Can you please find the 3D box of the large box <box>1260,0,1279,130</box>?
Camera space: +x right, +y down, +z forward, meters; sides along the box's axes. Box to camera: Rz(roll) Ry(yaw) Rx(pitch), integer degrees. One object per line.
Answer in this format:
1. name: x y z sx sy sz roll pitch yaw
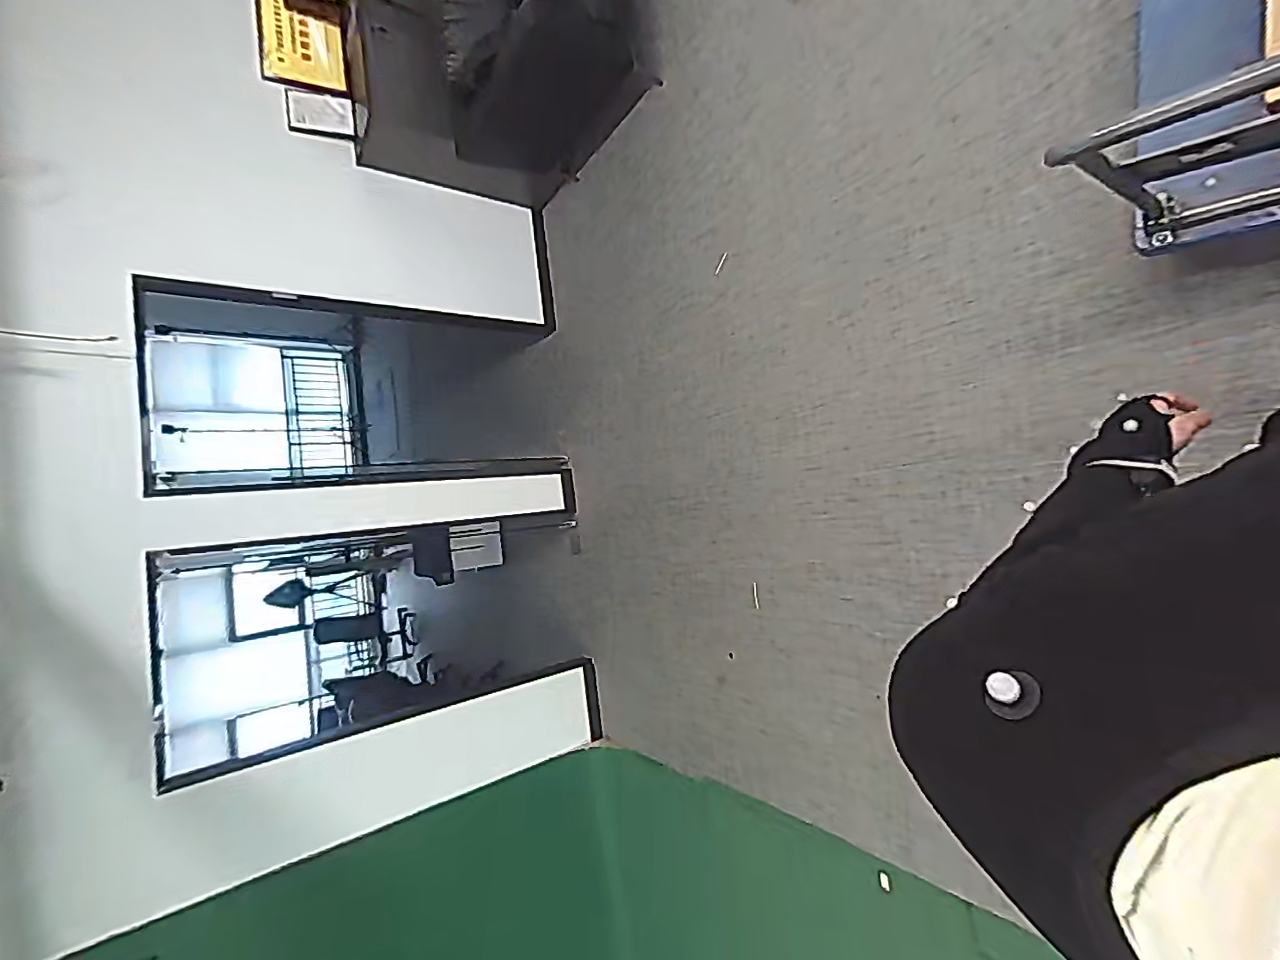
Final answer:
1. large box: 1.102 -0.740 0.736 0.320 0.320 0.408 1 94 53
